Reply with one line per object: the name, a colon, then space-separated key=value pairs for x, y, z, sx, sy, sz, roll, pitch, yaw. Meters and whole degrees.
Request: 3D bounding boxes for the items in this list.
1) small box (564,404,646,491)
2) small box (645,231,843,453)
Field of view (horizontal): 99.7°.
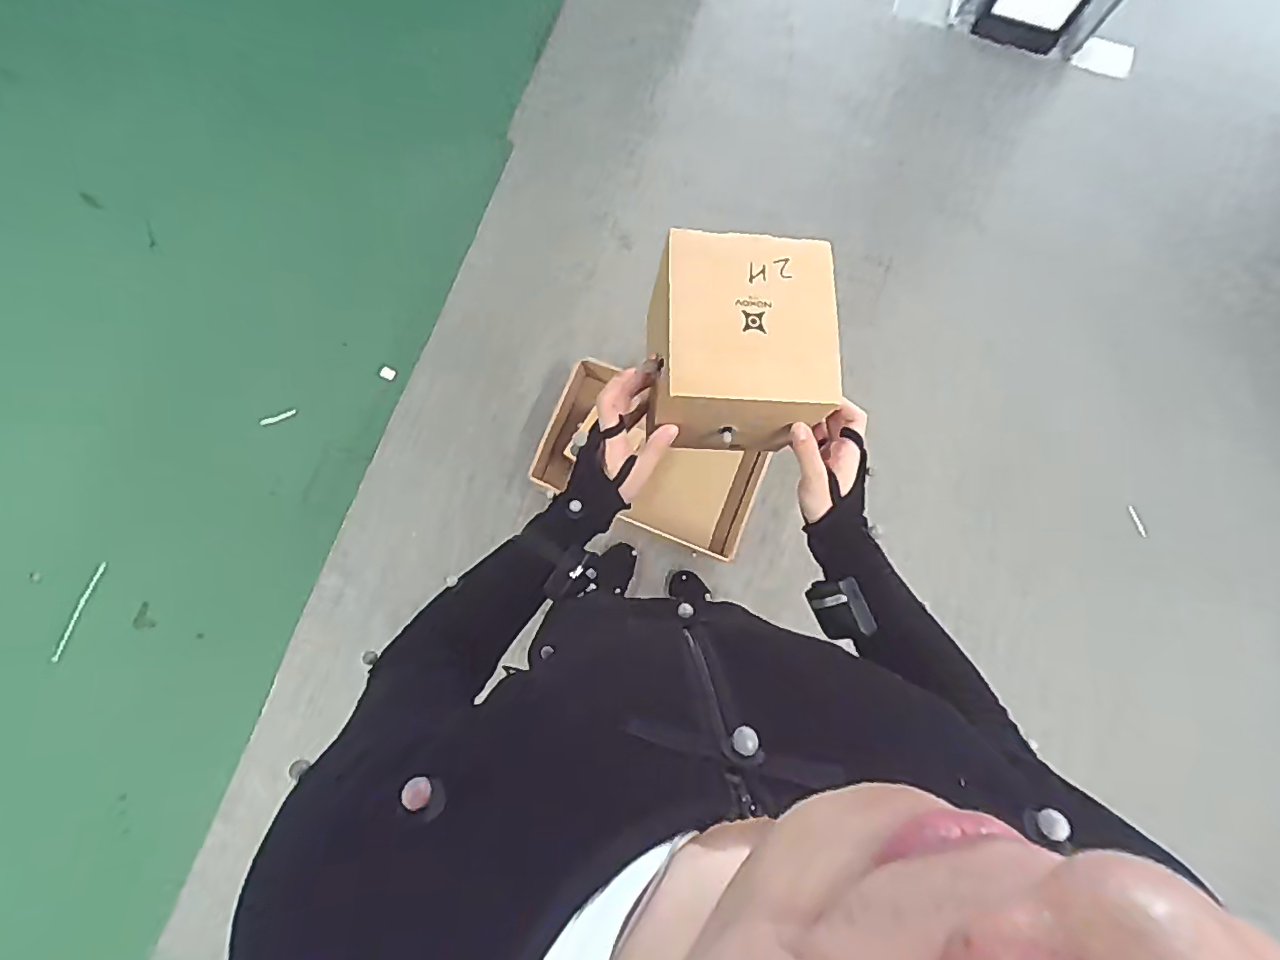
small box: x=-0.093 y=-0.084 z=1.561 sx=0.168 sy=0.176 sz=0.179 roll=33 pitch=82 yaw=5
small box: x=0.099 y=-0.133 z=0.583 sx=0.168 sy=0.176 sz=0.179 roll=2 pitch=76 yaw=-7
